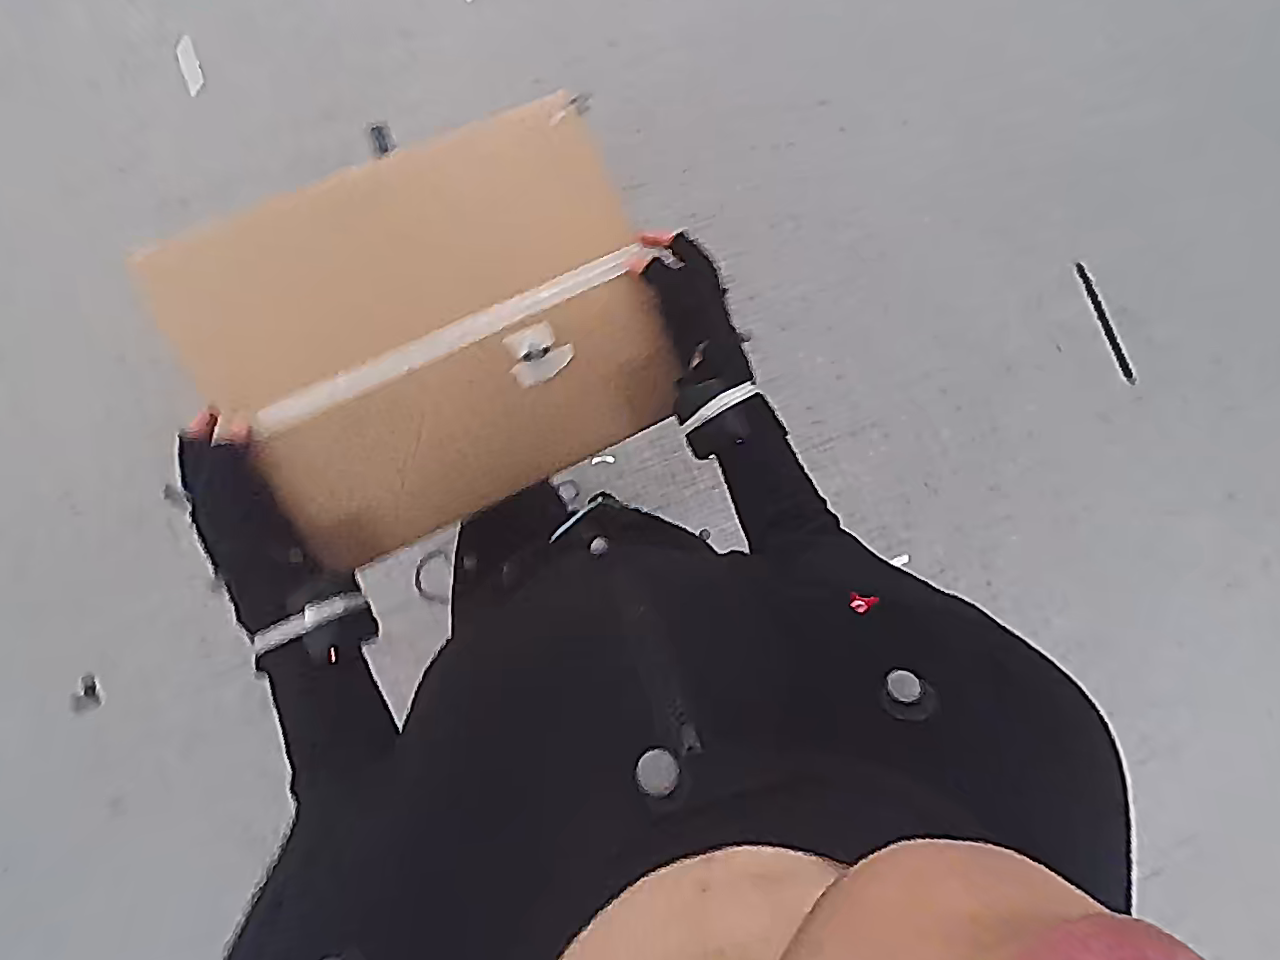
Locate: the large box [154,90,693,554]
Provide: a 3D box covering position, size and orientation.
[{"bbox_3d":[-0.212,-0.168,0.658,0.408,0.320,0.320,-26,105,-9],"label":"large box"}]
